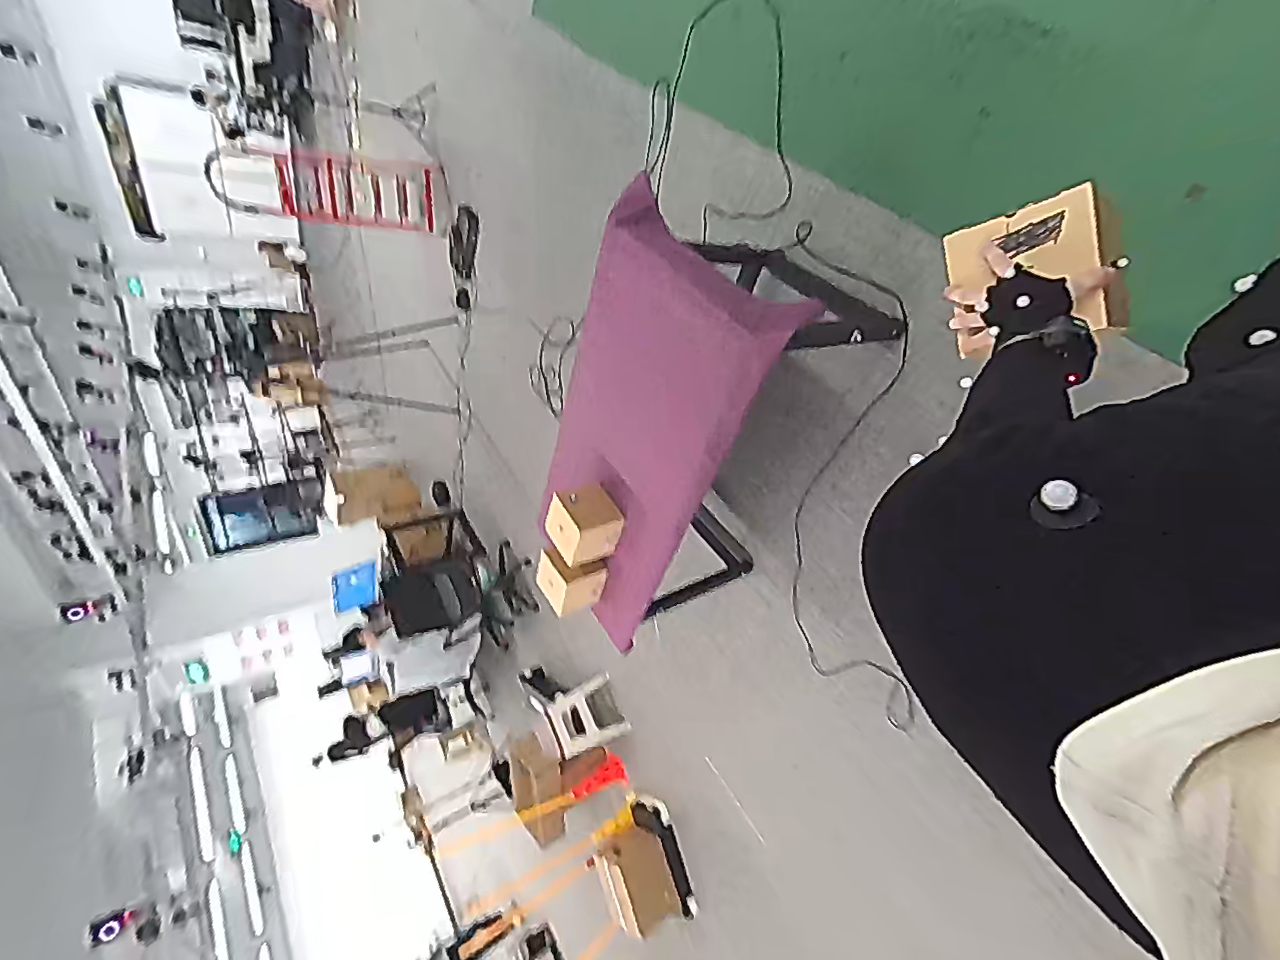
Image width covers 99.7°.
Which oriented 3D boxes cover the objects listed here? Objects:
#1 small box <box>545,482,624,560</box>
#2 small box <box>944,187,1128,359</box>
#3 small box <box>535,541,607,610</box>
[{"bbox_3d":[-0.181,0.124,1.738,0.179,0.176,0.168,51,137,30],"label":"small box"},{"bbox_3d":[0.556,-0.276,0.760,0.168,0.176,0.179,-6,97,51],"label":"small box"},{"bbox_3d":[-0.242,0.317,1.885,0.179,0.176,0.168,46,135,33],"label":"small box"}]
